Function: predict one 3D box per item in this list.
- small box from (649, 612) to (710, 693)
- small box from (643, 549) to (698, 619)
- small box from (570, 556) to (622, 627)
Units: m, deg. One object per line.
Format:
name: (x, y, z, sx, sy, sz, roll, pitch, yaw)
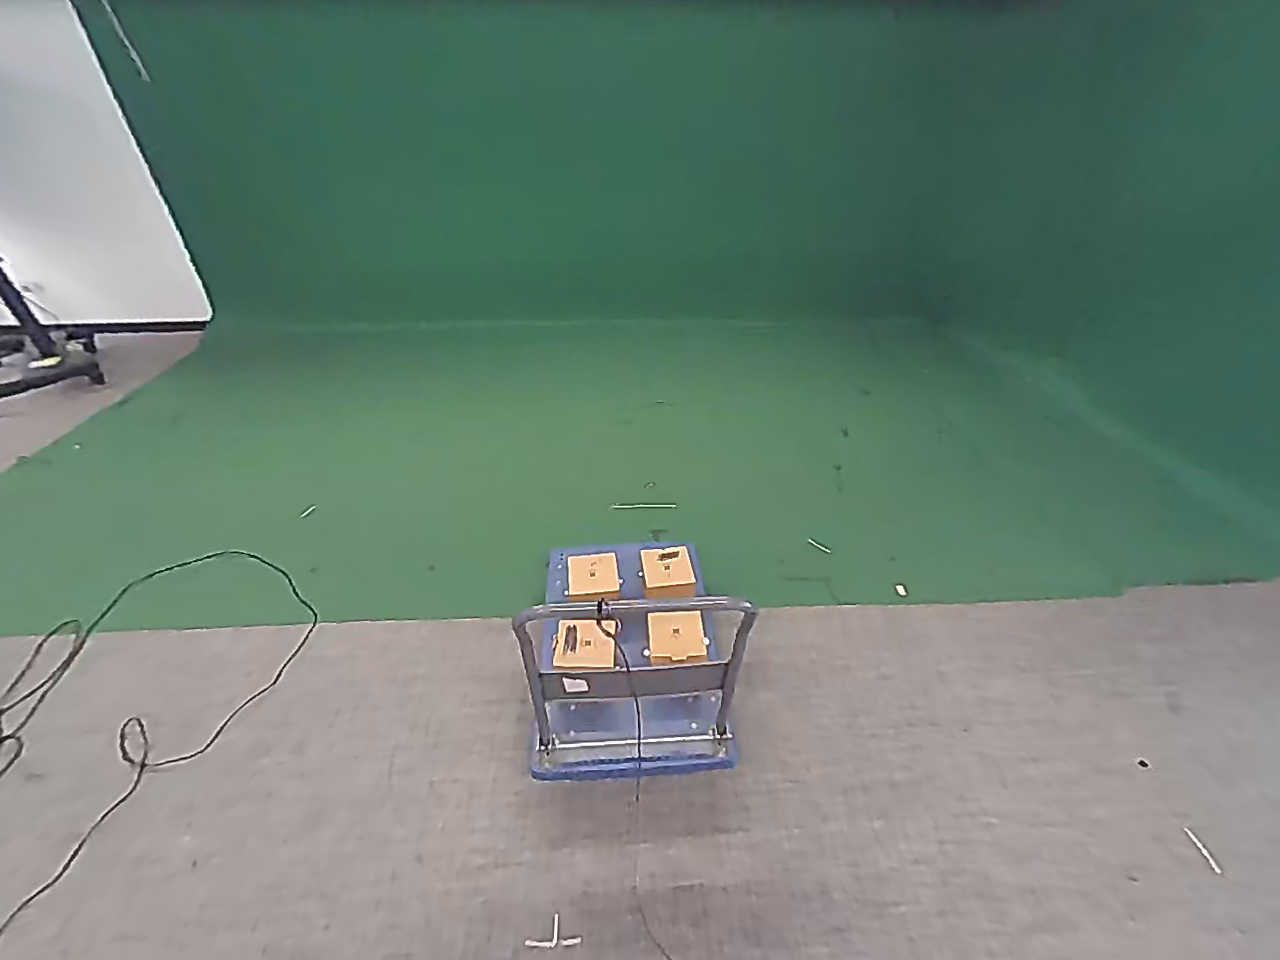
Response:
small box: (0.115, 0.526, 1.652, 0.168, 0.176, 0.179, -2, 38, -2)
small box: (0.100, 0.364, 1.867, 0.168, 0.176, 0.179, -5, 38, -5)
small box: (-0.150, 0.385, 1.842, 0.168, 0.176, 0.179, -4, 37, -6)
